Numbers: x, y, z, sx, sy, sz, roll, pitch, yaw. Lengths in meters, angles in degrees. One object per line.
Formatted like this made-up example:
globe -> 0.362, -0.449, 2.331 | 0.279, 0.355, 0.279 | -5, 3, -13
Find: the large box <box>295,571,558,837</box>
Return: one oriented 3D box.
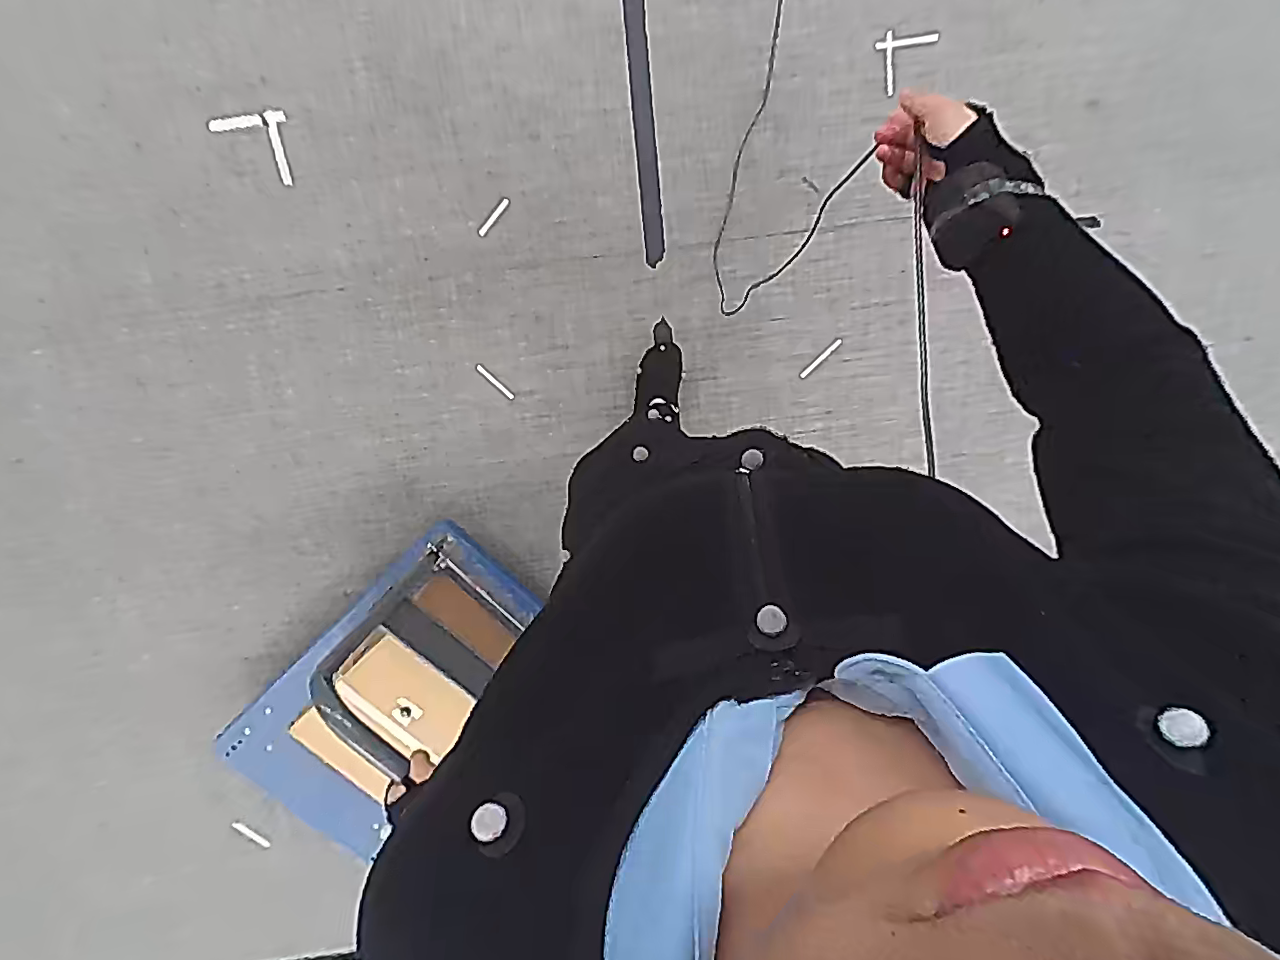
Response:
large box -> -0.447, 0.488, 1.234 | 0.320, 0.320, 0.408 | -43, 100, 5
